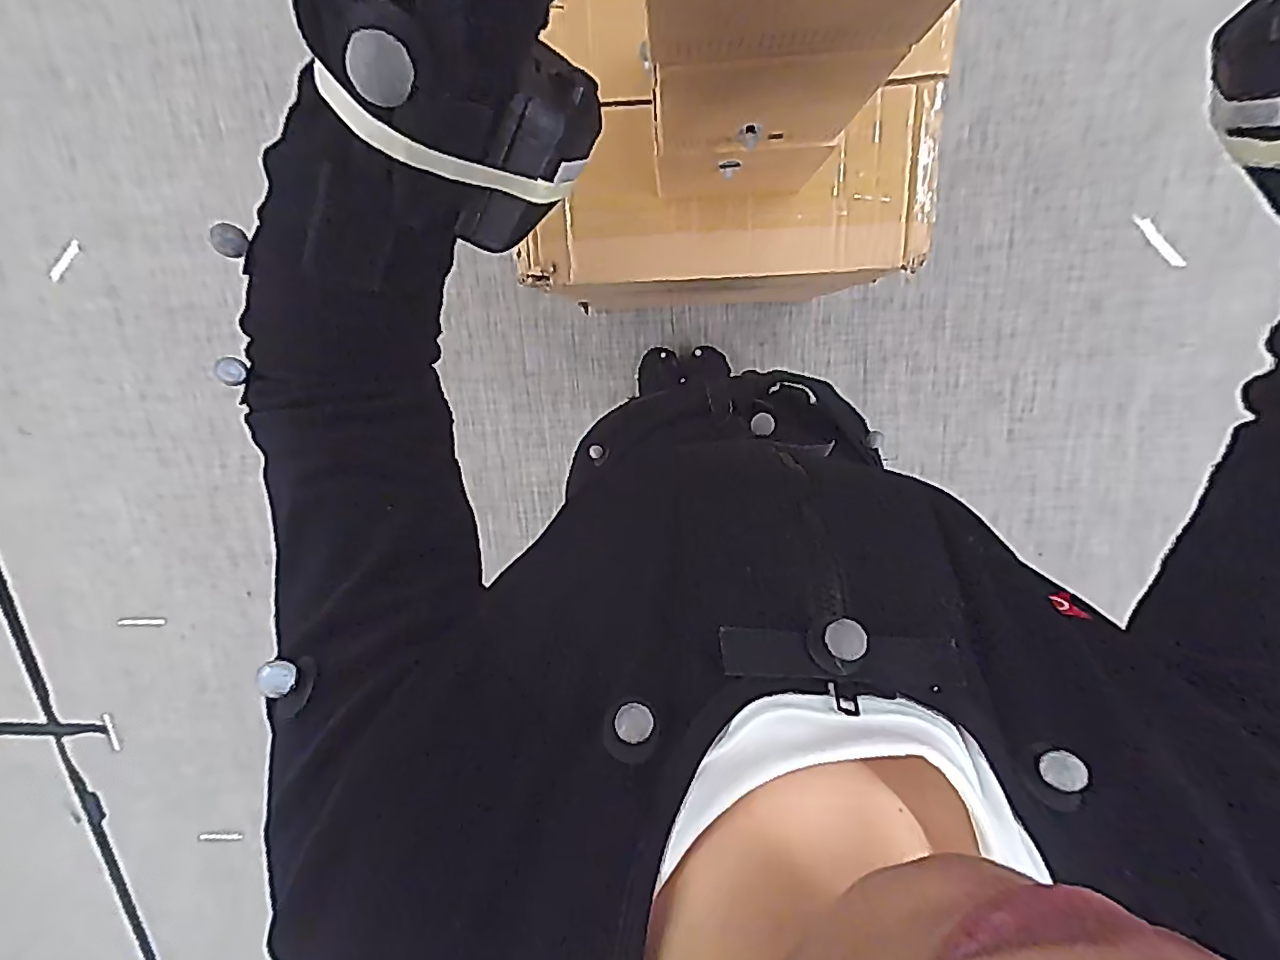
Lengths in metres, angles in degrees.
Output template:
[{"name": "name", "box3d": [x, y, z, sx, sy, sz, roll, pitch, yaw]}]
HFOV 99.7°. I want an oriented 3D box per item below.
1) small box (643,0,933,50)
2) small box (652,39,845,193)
[{"name": "small box", "box3d": [0.085, -0.335, 0.248, 0.179, 0.176, 0.168, -1, 105, 4]}, {"name": "small box", "box3d": [0.103, -0.412, 0.567, 0.179, 0.176, 0.168, -1, 105, 4]}]
